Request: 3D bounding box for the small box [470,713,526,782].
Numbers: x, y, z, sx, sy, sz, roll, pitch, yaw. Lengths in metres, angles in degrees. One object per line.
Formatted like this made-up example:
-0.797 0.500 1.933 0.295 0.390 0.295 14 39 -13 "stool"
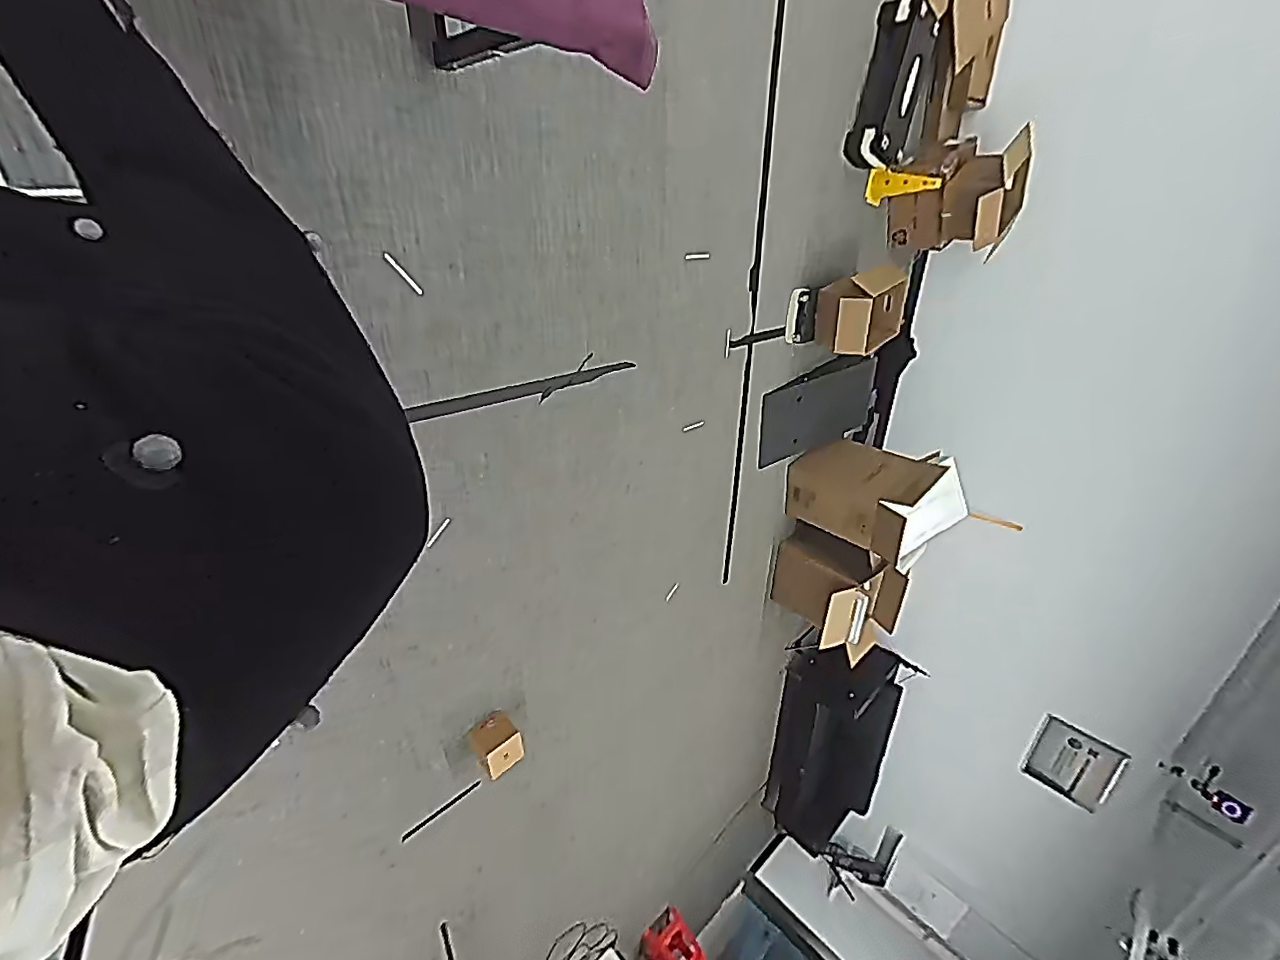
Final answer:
-0.629 1.180 2.397 0.168 0.176 0.179 -27 128 -37 "small box"
